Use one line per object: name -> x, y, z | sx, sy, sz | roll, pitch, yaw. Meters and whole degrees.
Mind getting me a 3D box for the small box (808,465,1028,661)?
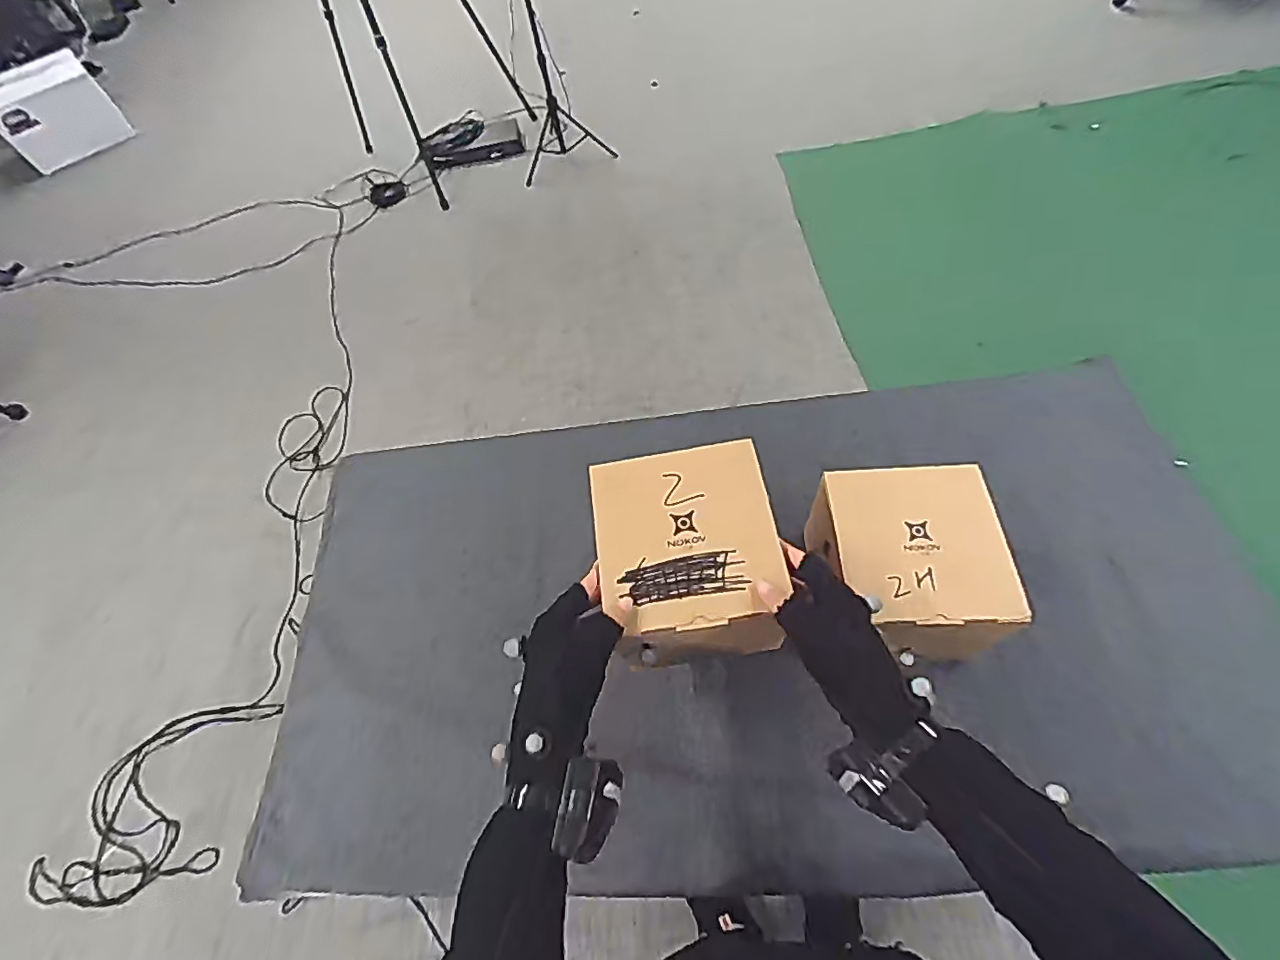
small box -> 0.297, 0.101, 0.628 | 0.168, 0.176, 0.179 | -3, 60, 8
